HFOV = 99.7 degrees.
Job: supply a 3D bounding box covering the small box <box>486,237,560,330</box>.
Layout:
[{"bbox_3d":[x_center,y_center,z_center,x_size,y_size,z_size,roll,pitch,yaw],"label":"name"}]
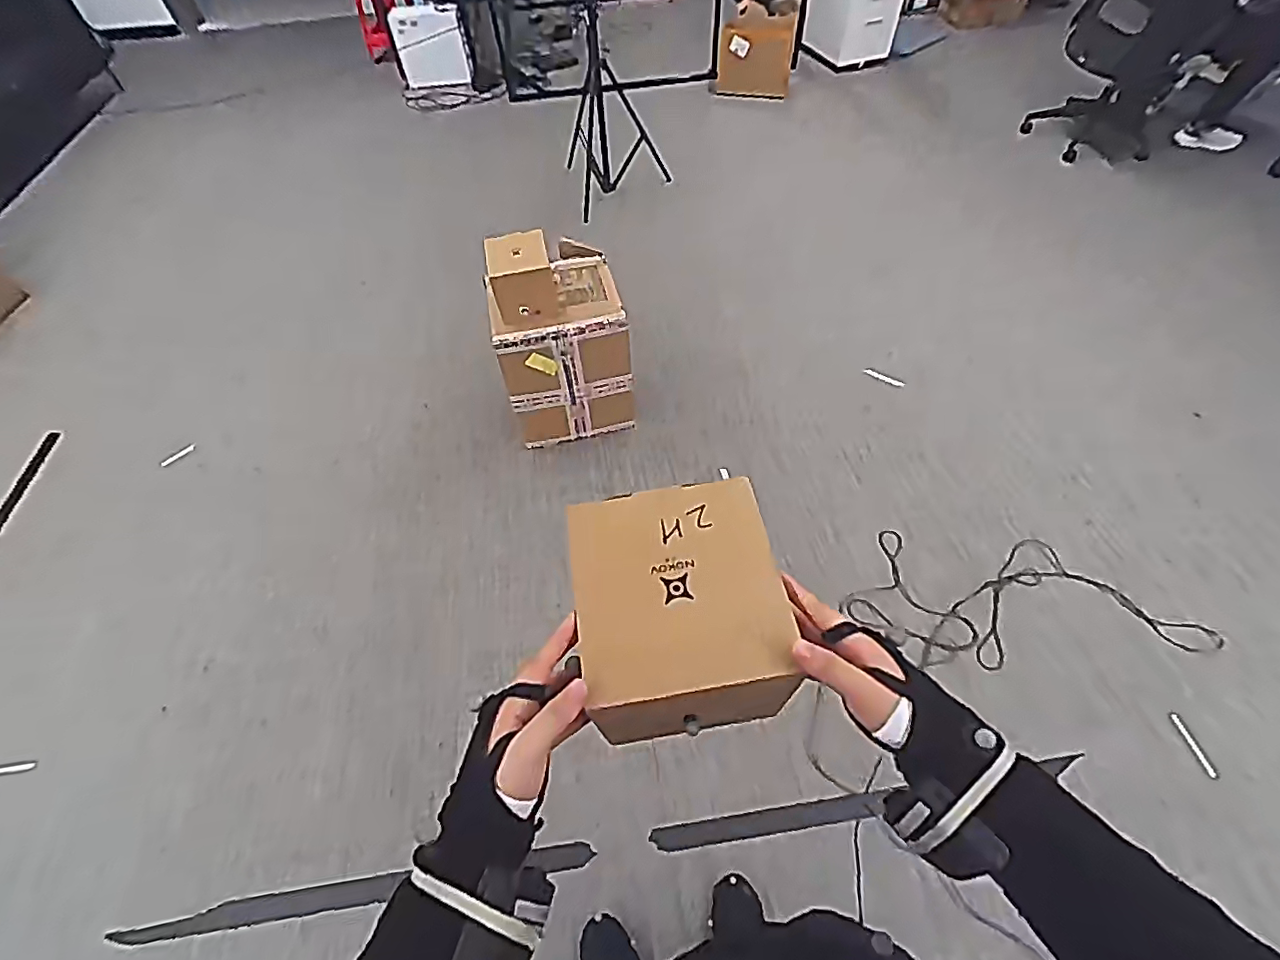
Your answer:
[{"bbox_3d":[-0.330,-0.557,1.541,0.168,0.176,0.179,-13,59,-5],"label":"small box"}]
